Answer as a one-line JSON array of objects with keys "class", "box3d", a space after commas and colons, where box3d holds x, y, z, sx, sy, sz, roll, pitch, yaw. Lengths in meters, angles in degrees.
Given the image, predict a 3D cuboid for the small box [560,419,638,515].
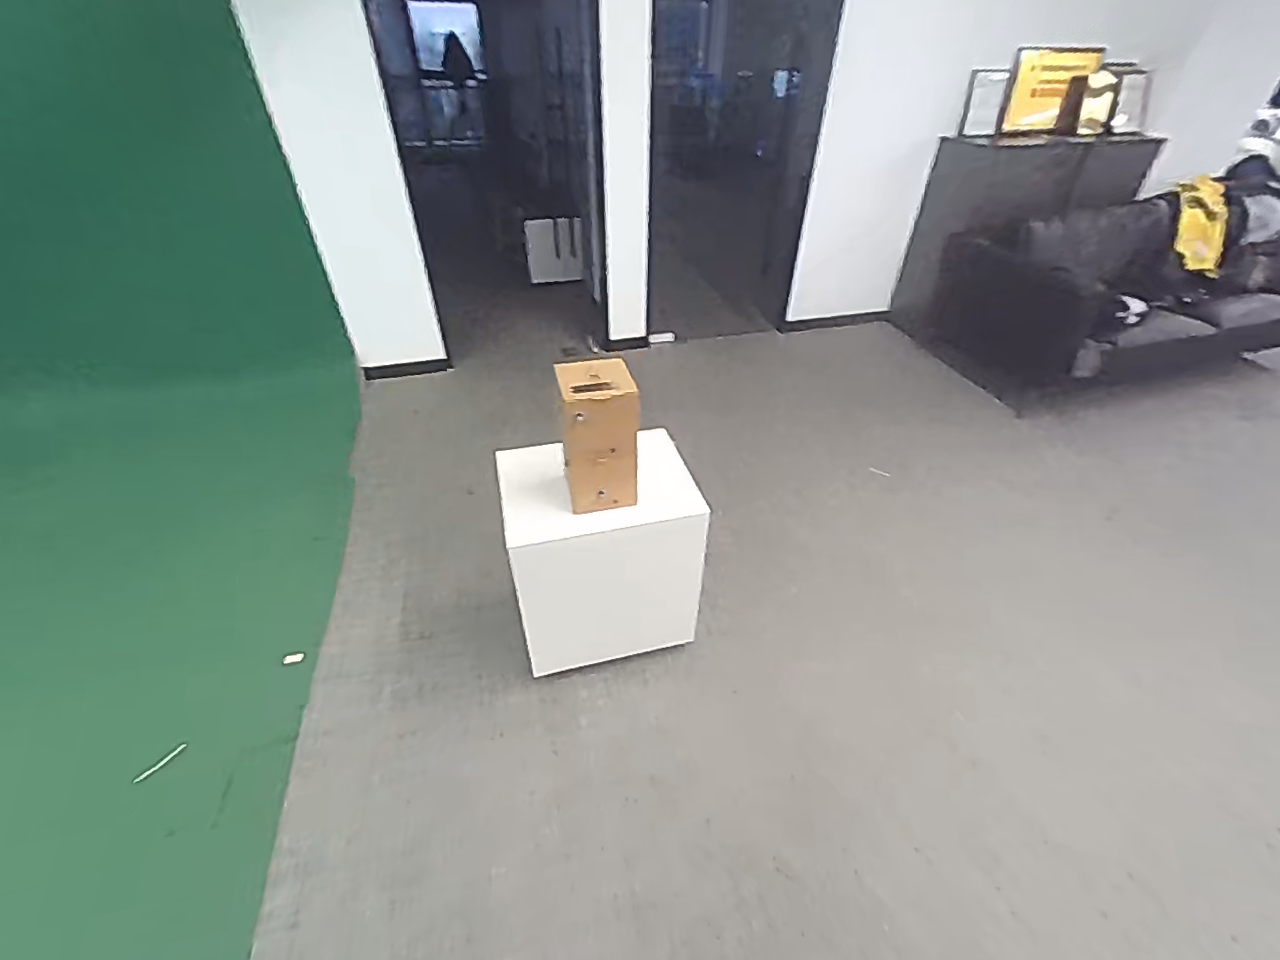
[{"class": "small box", "box3d": [-0.107, -0.034, 1.377, 0.168, 0.176, 0.179, -9, 39, -12]}]
